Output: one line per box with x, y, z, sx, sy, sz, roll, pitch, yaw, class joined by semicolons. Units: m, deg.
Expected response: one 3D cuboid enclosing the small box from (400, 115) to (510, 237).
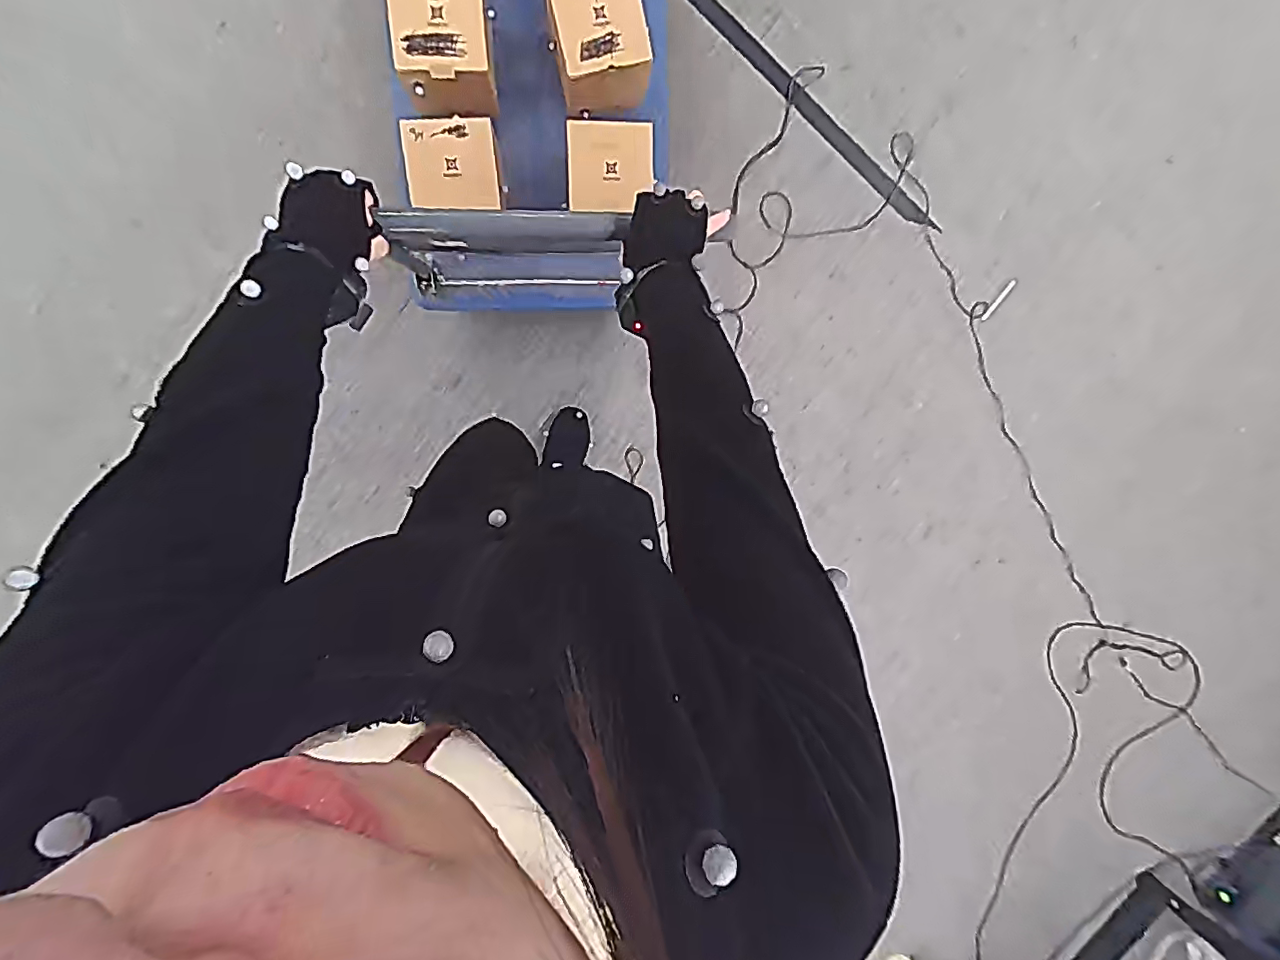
-0.360;-0.597;1.083;0.168;0.176;0.179;-6;101;-7;small box

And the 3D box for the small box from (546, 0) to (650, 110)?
-0.085;-0.870;1.073;0.168;0.176;0.179;-15;100;-5;small box

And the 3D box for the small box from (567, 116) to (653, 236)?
-0.065;-0.618;1.120;0.168;0.176;0.179;-2;99;-7;small box
